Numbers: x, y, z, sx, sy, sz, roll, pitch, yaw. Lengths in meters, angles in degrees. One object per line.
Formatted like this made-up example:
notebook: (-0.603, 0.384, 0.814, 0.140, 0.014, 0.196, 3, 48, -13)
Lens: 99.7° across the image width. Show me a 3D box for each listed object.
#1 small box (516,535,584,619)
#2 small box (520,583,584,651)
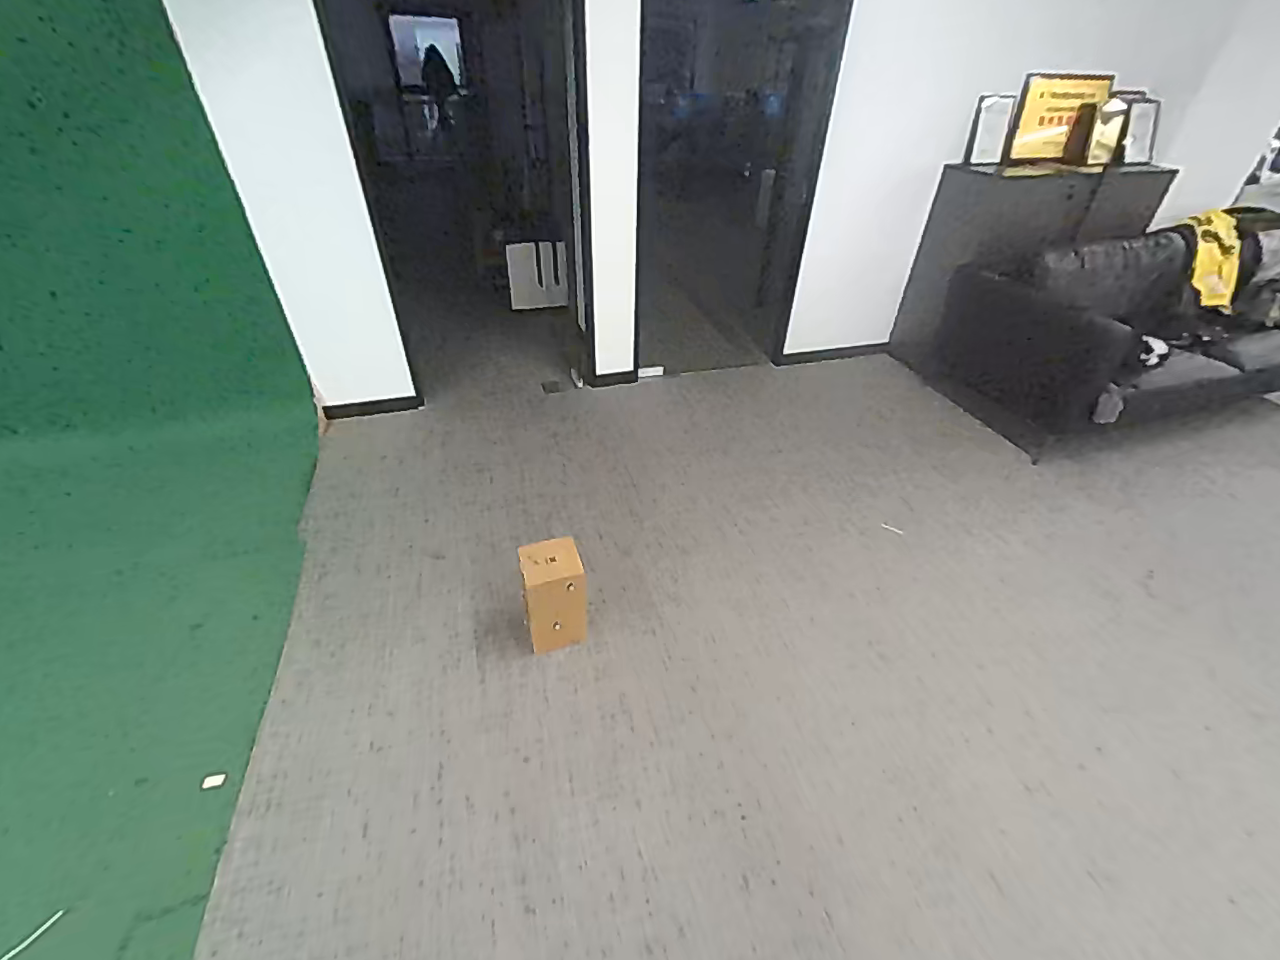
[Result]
small box: (-0.274, 0.299, 1.659, 0.179, 0.176, 0.168, -11, 40, -16)
small box: (-0.286, 0.427, 1.762, 0.179, 0.176, 0.168, -12, 41, -16)
